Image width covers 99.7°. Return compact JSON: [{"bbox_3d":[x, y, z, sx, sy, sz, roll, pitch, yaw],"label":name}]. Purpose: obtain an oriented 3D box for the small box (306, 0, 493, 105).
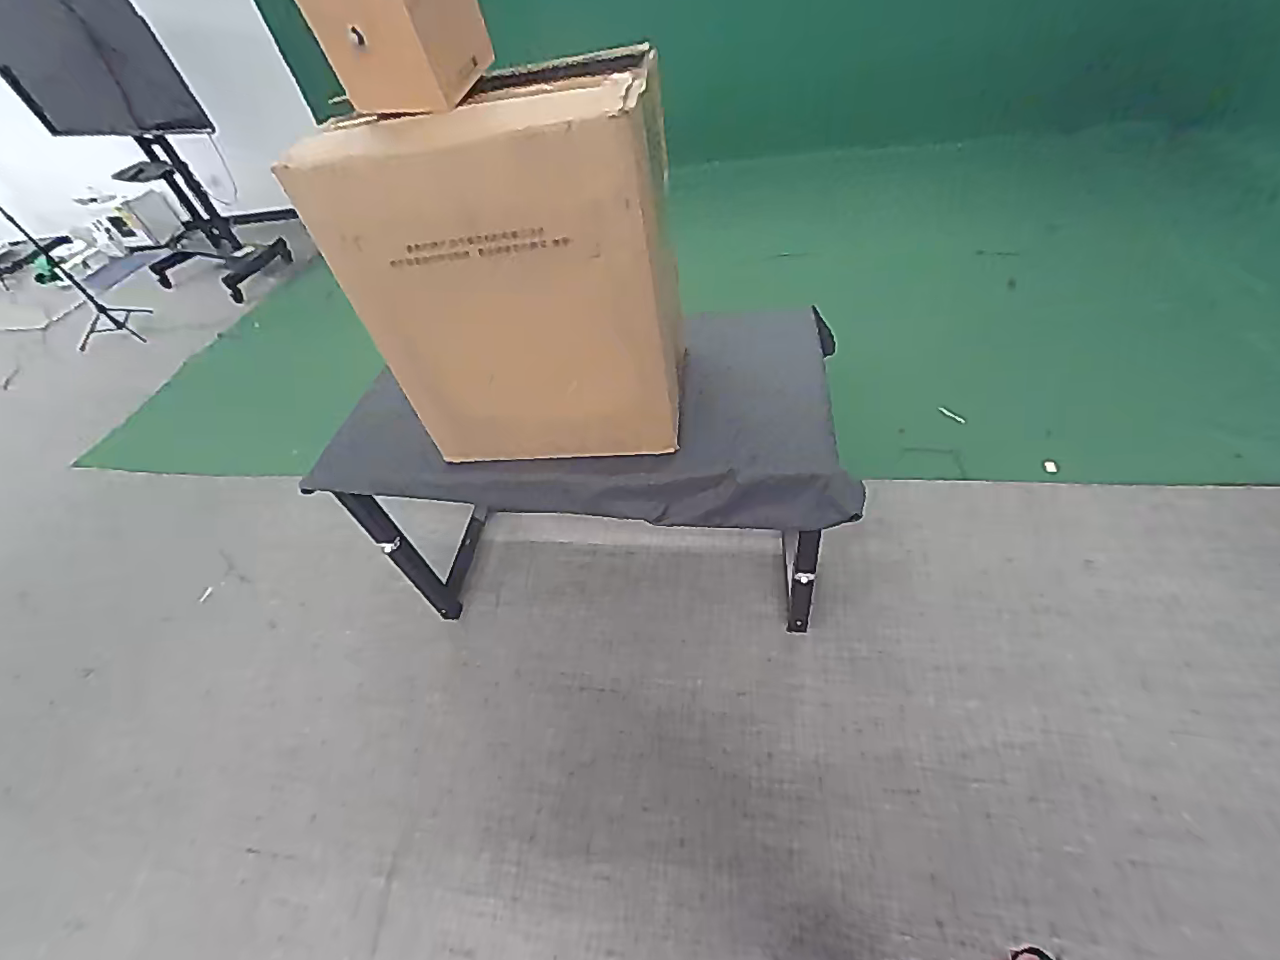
[{"bbox_3d":[-0.347,-0.674,0.784,0.179,0.176,0.168,10,63,17],"label":"small box"}]
